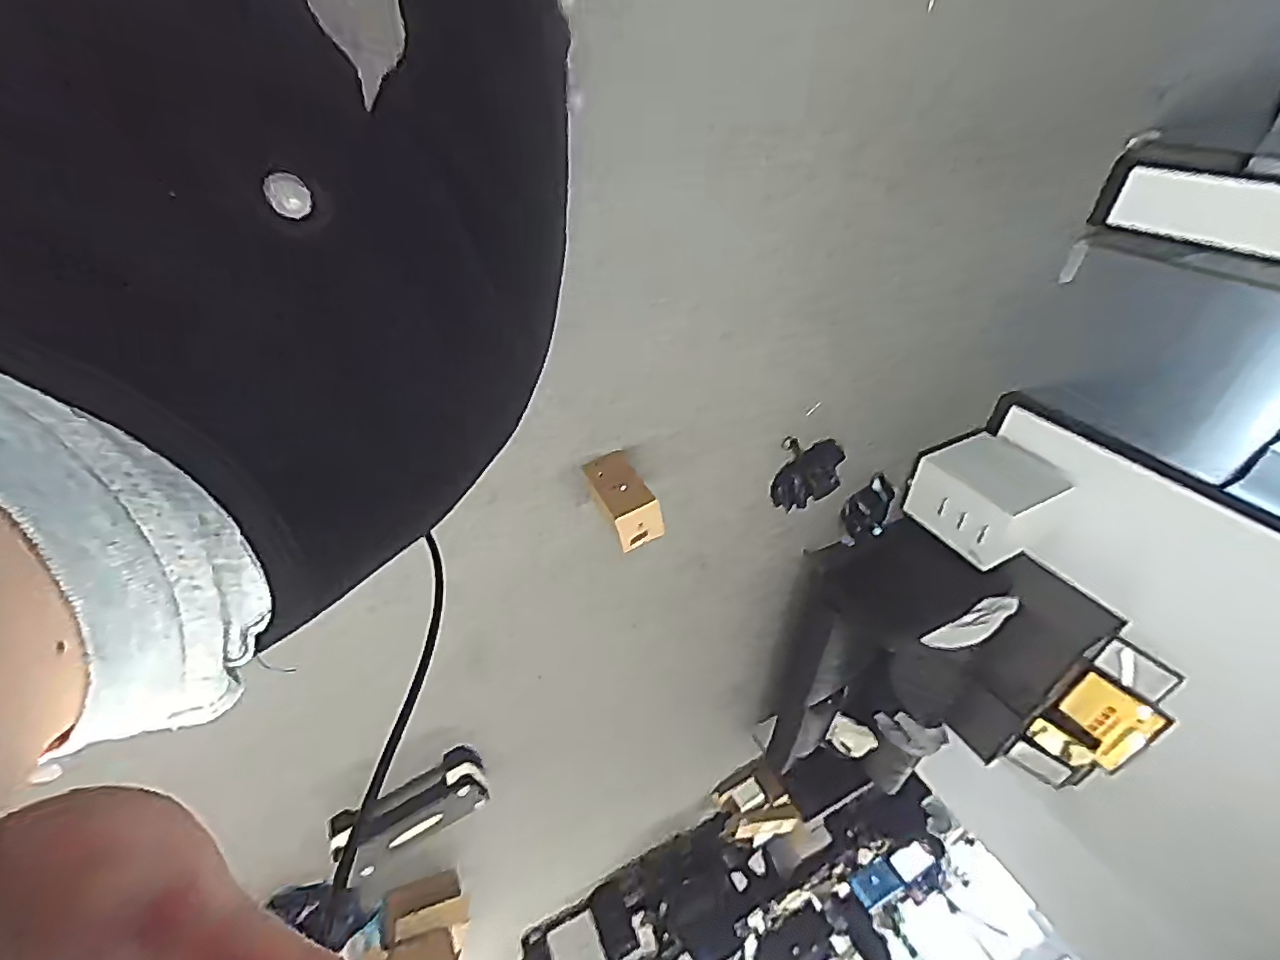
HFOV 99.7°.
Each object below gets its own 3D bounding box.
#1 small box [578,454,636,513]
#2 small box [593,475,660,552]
[{"bbox_3d":[-0.116,0.023,2.029,0.168,0.176,0.179,-25,136,-12],"label":"small box"},{"bbox_3d":[-0.048,0.115,1.910,0.168,0.176,0.179,-25,133,-14],"label":"small box"}]
